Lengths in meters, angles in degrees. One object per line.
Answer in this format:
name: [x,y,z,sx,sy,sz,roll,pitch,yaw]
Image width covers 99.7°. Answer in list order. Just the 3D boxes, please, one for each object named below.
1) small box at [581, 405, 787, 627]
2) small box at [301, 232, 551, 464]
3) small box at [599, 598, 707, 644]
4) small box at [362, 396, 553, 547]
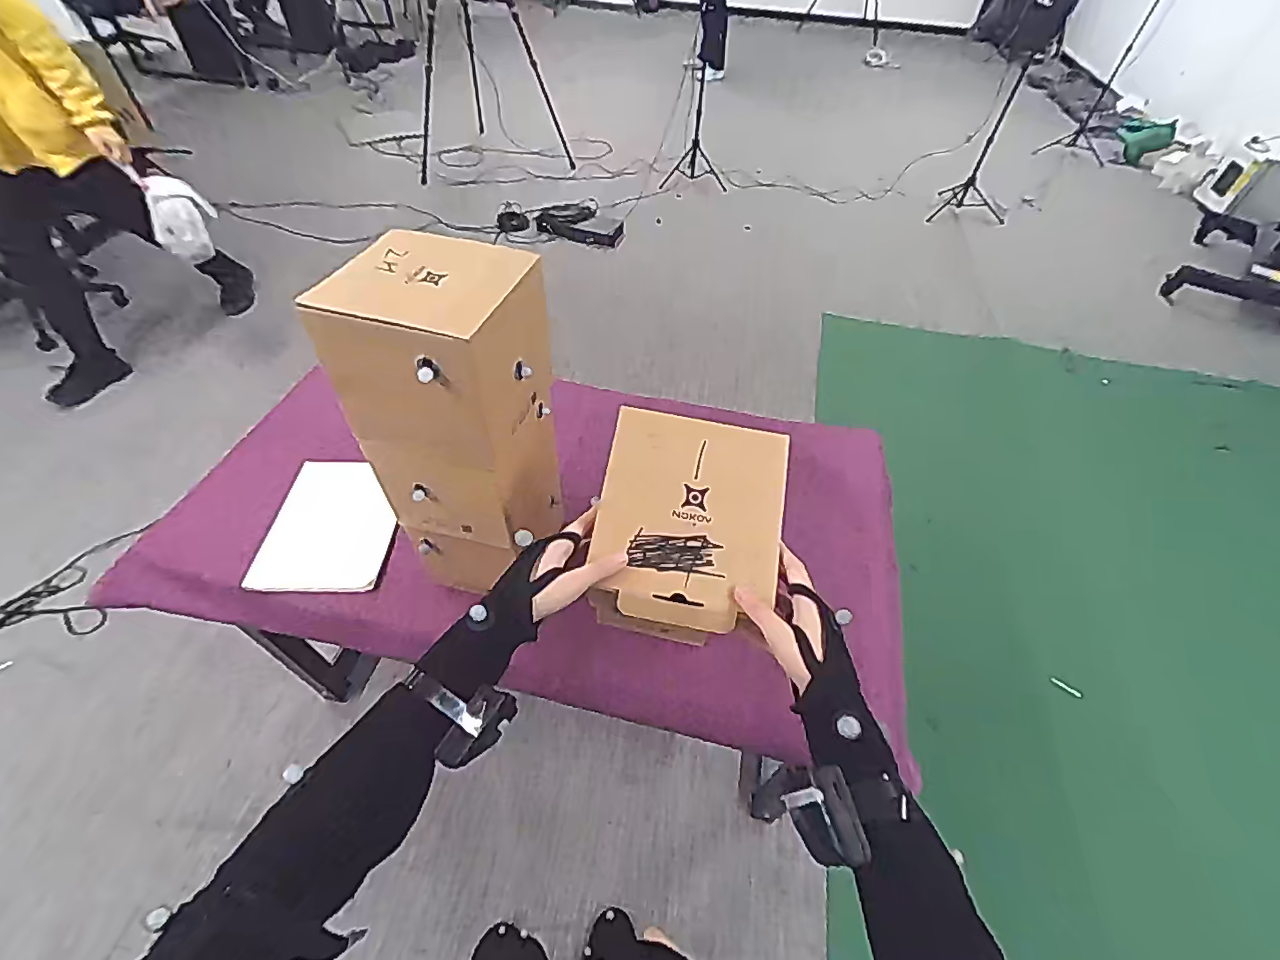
small box: [0.042,0.049,0.567,0.168,0.176,0.179,12,69,1]
small box: [-0.206,-0.139,0.586,0.179,0.176,0.168,13,48,9]
small box: [0.037,0.120,0.811,0.168,0.176,0.179,12,48,6]
small box: [-0.221,-0.036,0.714,0.168,0.176,0.179,12,48,7]
